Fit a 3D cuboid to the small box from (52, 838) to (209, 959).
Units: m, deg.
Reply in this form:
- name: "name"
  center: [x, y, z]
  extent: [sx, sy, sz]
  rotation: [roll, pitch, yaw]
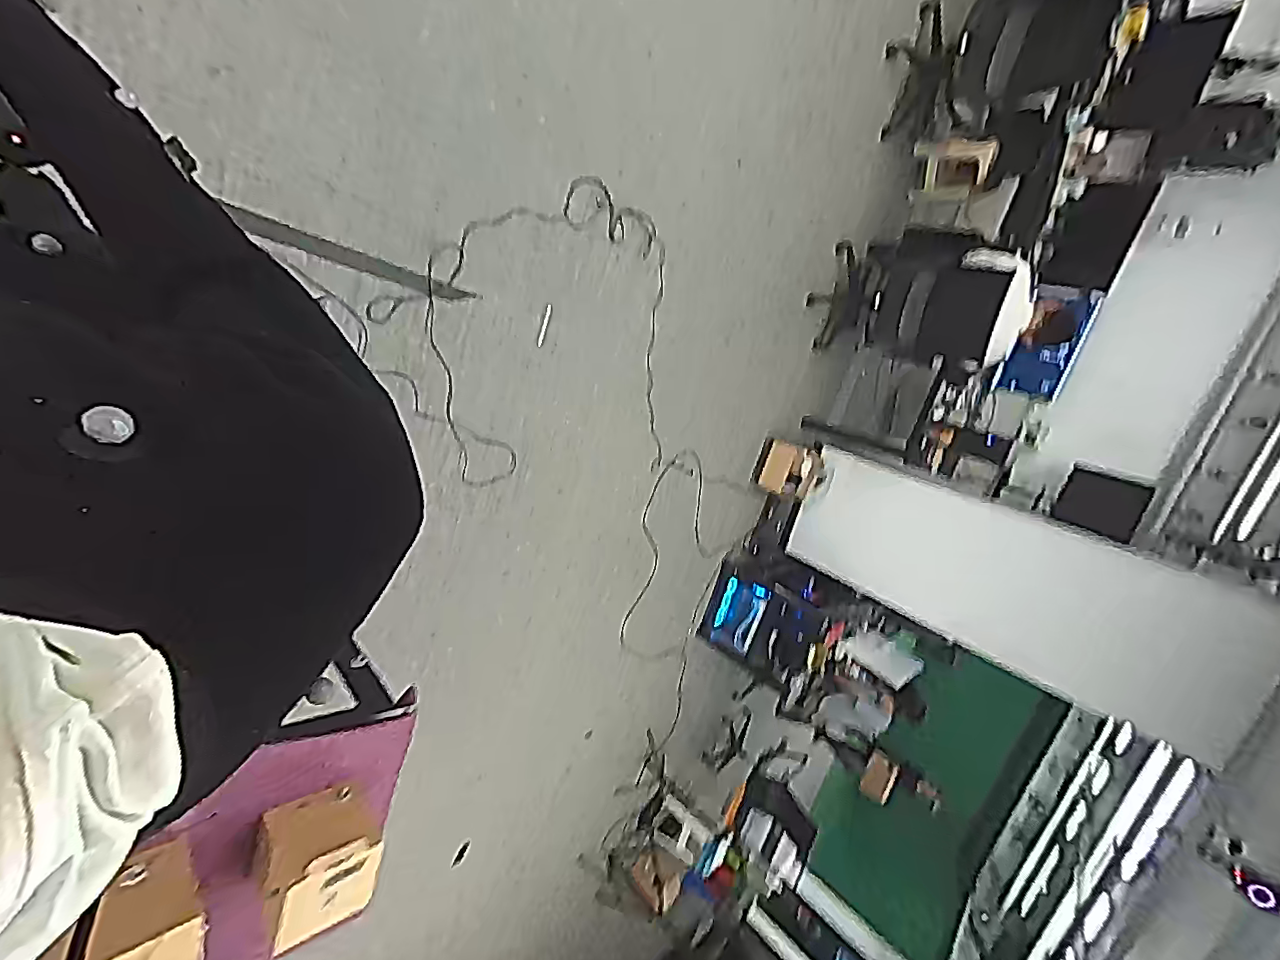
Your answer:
- name: "small box"
  center: [-0.808, 0.727, 0.858]
  extent: [0.168, 0.176, 0.179]
  rotation: [-3, 114, -48]

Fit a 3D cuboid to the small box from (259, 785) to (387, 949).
- name: "small box"
  center: [-0.627, 0.740, 1.065]
  extent: [0.168, 0.176, 0.179]
  rotation: [1, 112, -48]
